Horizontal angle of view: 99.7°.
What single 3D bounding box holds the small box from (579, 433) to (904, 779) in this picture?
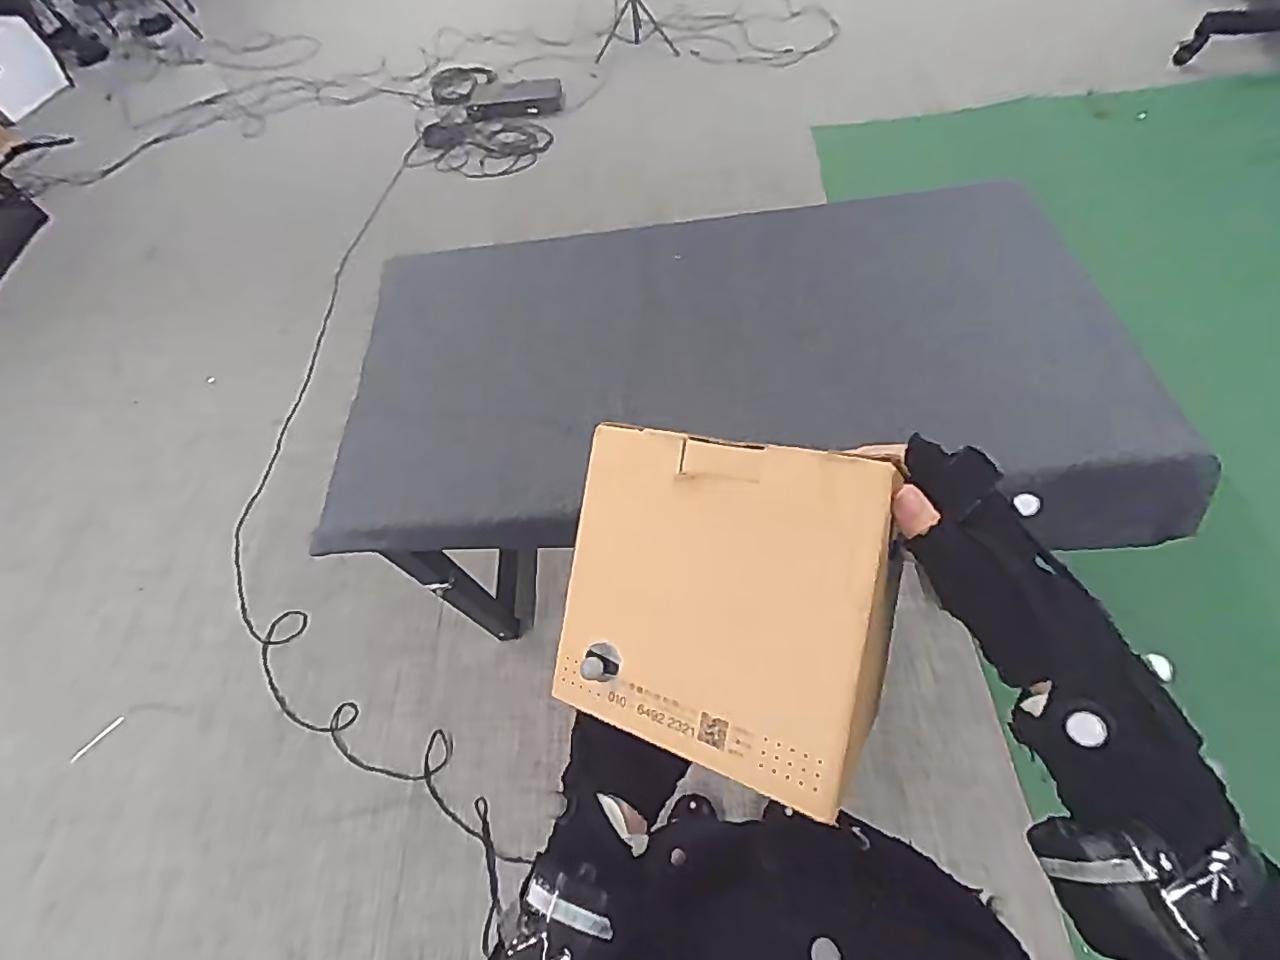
[{"bbox_3d":[0.073,0.069,0.373,0.168,0.179,0.176,10,90,31],"label":"small box"}]
